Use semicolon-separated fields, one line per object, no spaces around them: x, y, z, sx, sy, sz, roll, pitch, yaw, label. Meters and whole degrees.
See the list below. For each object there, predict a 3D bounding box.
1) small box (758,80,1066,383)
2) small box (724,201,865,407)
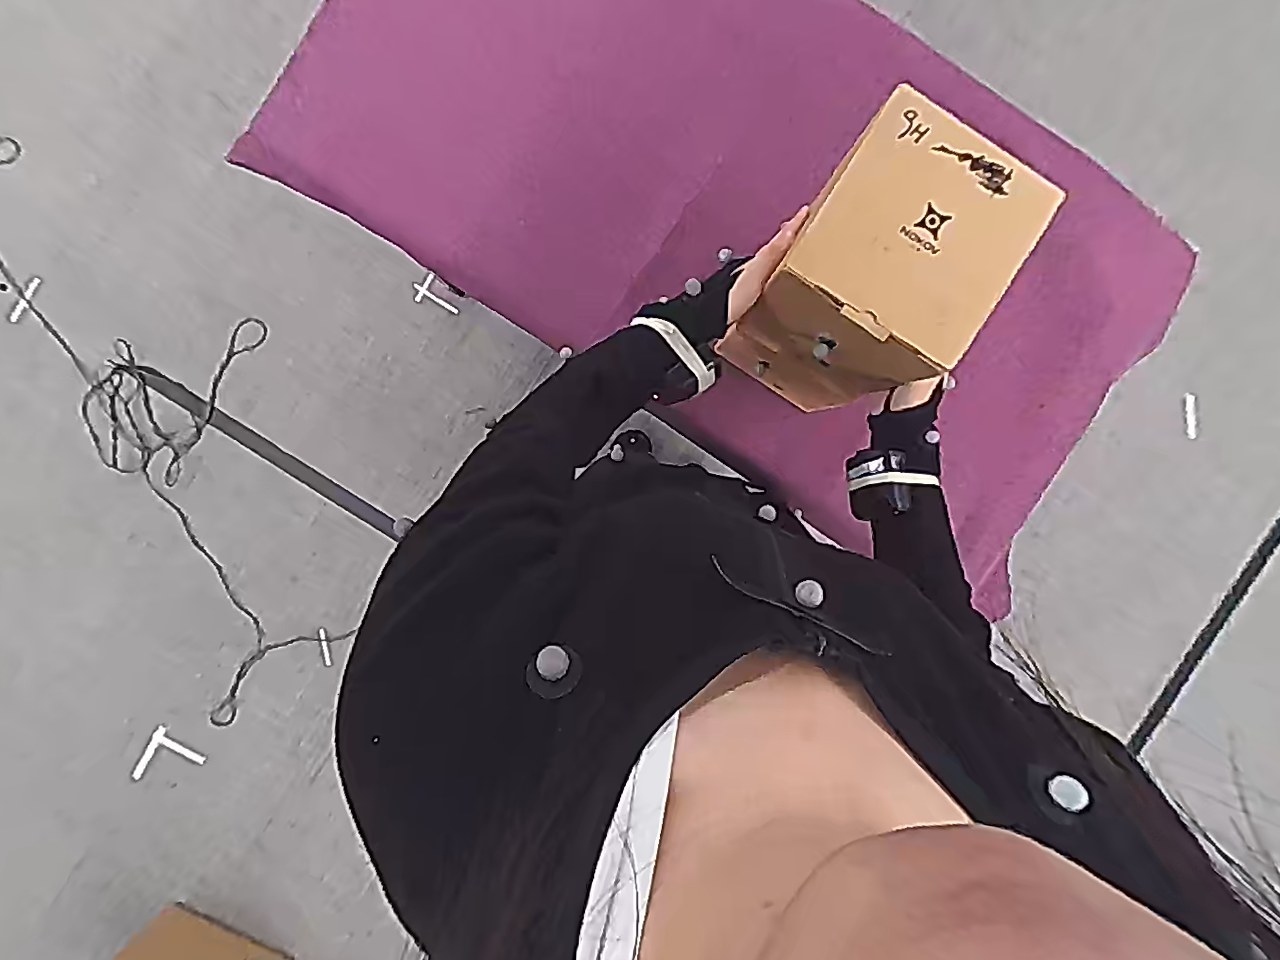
0.231;-0.210;0.517;0.168;0.176;0.179;33;93;-3;small box
0.223;-0.209;0.694;0.168;0.176;0.179;33;91;-3;small box
